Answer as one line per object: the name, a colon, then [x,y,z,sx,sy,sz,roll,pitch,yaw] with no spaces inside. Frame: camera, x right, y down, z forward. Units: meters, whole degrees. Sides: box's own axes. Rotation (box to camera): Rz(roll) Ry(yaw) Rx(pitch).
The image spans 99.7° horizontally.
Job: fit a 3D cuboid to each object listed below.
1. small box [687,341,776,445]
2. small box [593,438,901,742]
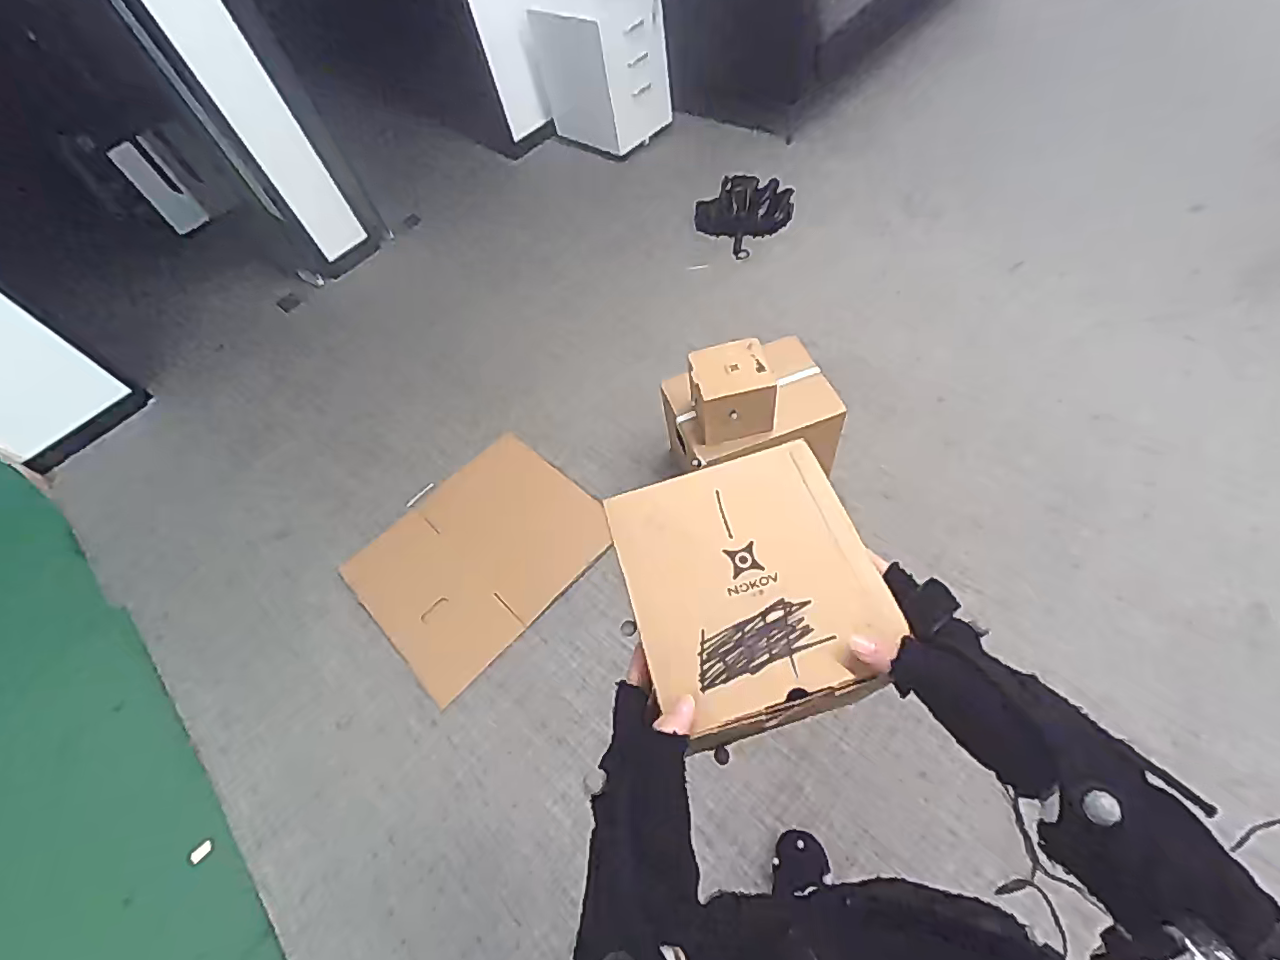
small box: [0.226,-0.210,1.344,0.179,0.176,0.168,-15,54,0]
small box: [0.076,0.101,0.450,0.168,0.176,0.179,-20,61,-3]
